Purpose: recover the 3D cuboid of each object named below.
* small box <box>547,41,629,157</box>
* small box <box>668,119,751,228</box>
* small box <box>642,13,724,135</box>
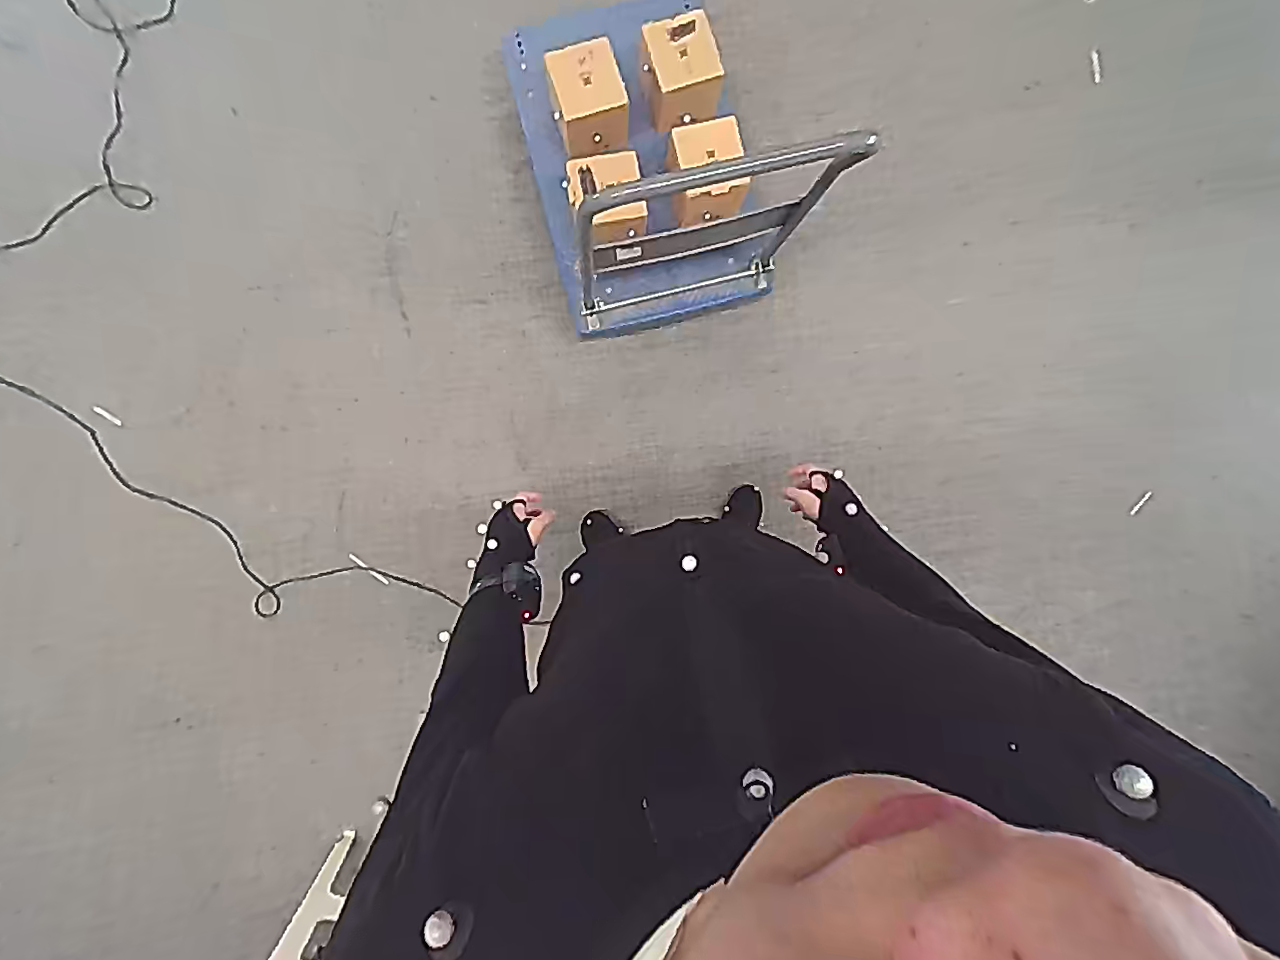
[{"bbox_3d":[-0.132,-0.984,1.419,0.168,0.176,0.179,-18,89,-3],"label":"small box"},{"bbox_3d":[0.176,-0.803,1.429,0.168,0.176,0.179,-14,90,-3],"label":"small box"},{"bbox_3d":[0.107,-1.065,1.431,0.168,0.176,0.179,-18,90,-2],"label":"small box"}]
